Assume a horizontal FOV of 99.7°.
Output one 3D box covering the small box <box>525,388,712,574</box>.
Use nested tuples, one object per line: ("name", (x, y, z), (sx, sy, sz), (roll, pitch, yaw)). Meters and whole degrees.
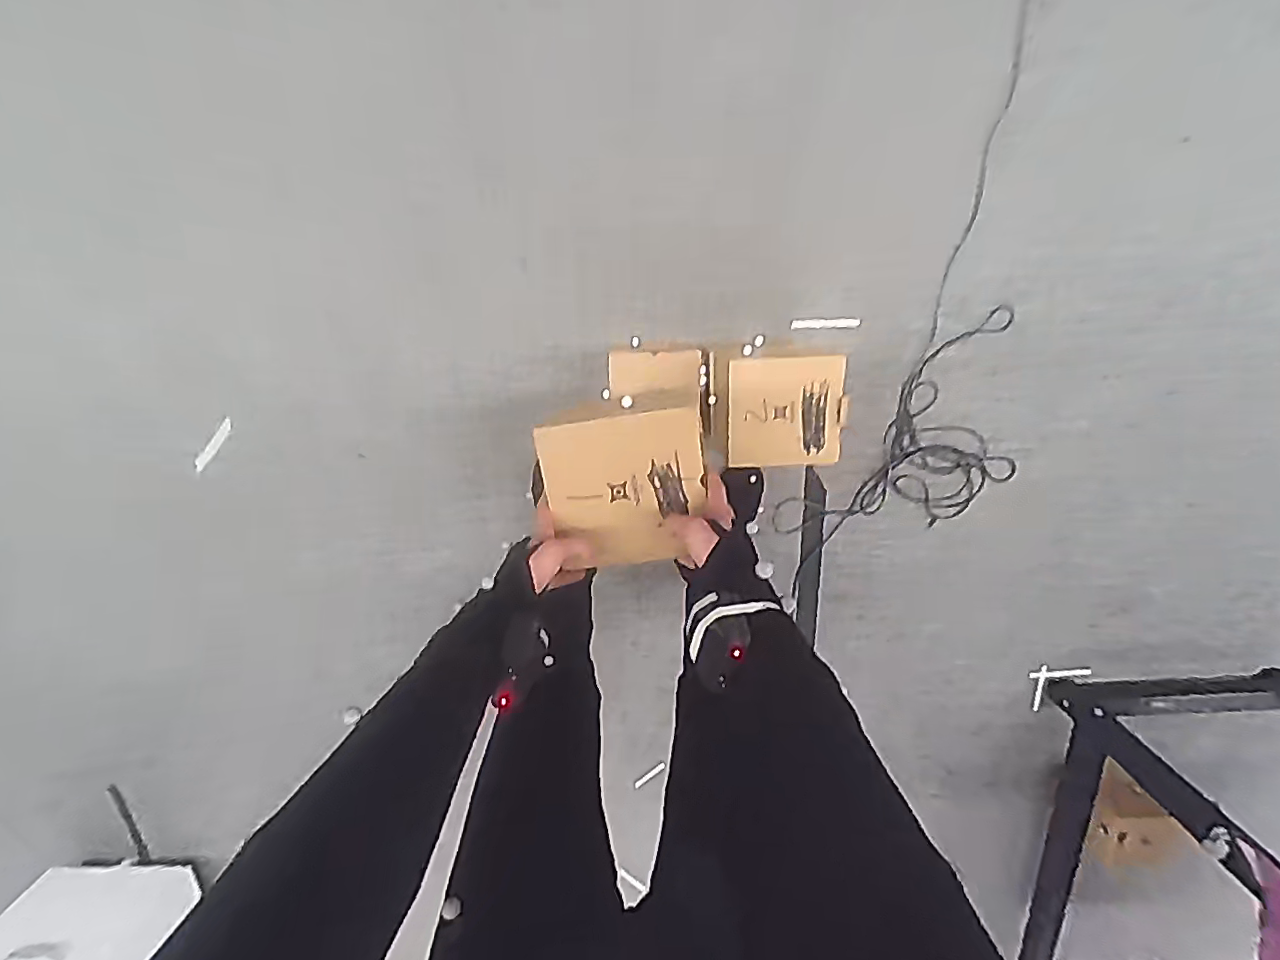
("small box", (-0.016, -0.008, 0.639), (0.179, 0.176, 0.168), (-8, 106, 7))
